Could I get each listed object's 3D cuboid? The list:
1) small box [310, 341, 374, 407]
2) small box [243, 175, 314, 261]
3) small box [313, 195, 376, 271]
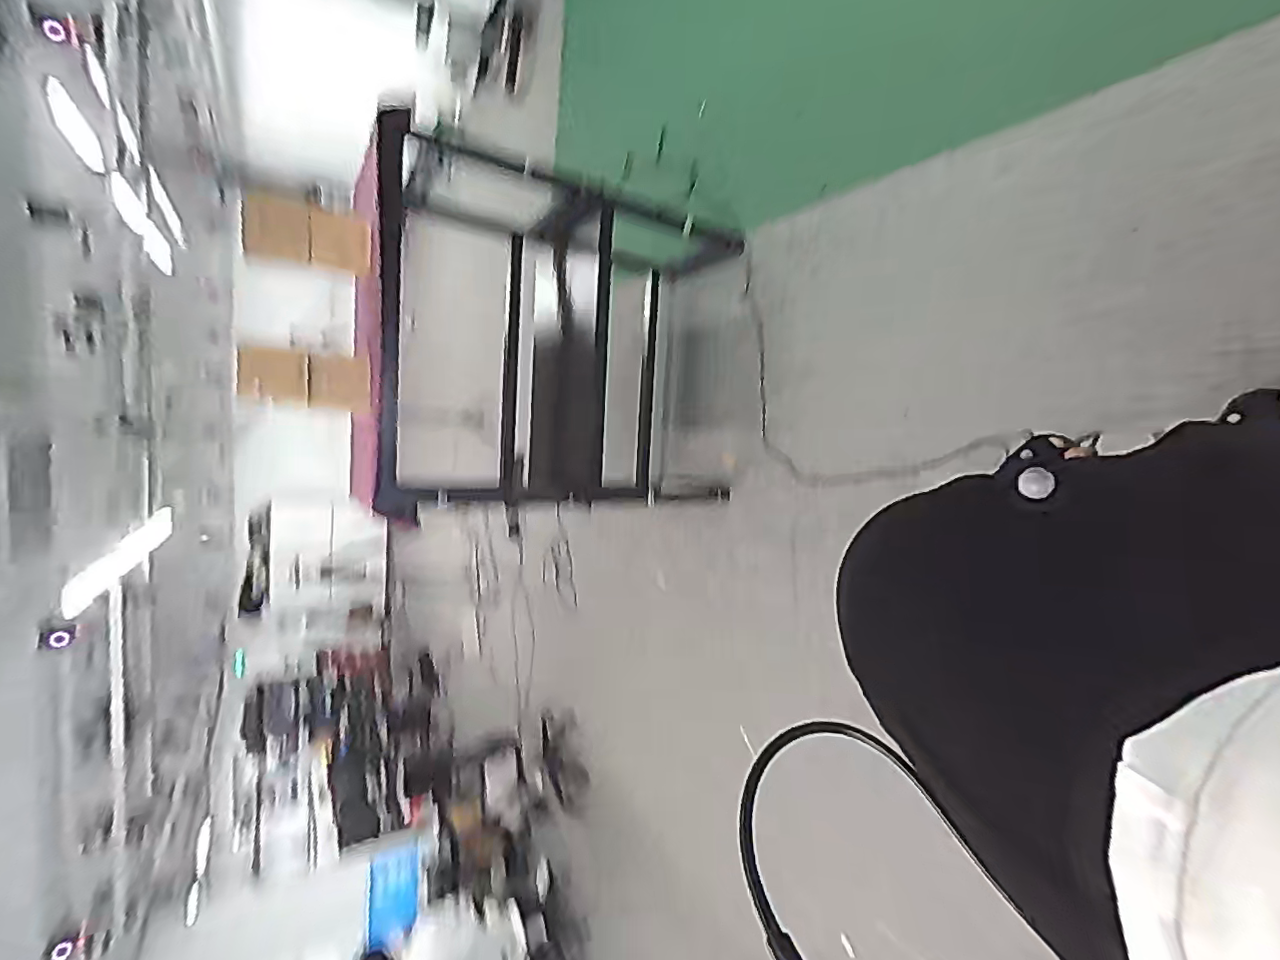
[{"bbox_3d":[-0.923,-0.320,1.675,0.168,0.176,0.179,2,91,57],"label":"small box"},{"bbox_3d":[-1.064,-0.765,1.604,0.168,0.176,0.179,9,97,57],"label":"small box"},{"bbox_3d":[-0.929,-0.768,1.698,0.179,0.176,0.168,16,103,57],"label":"small box"}]
